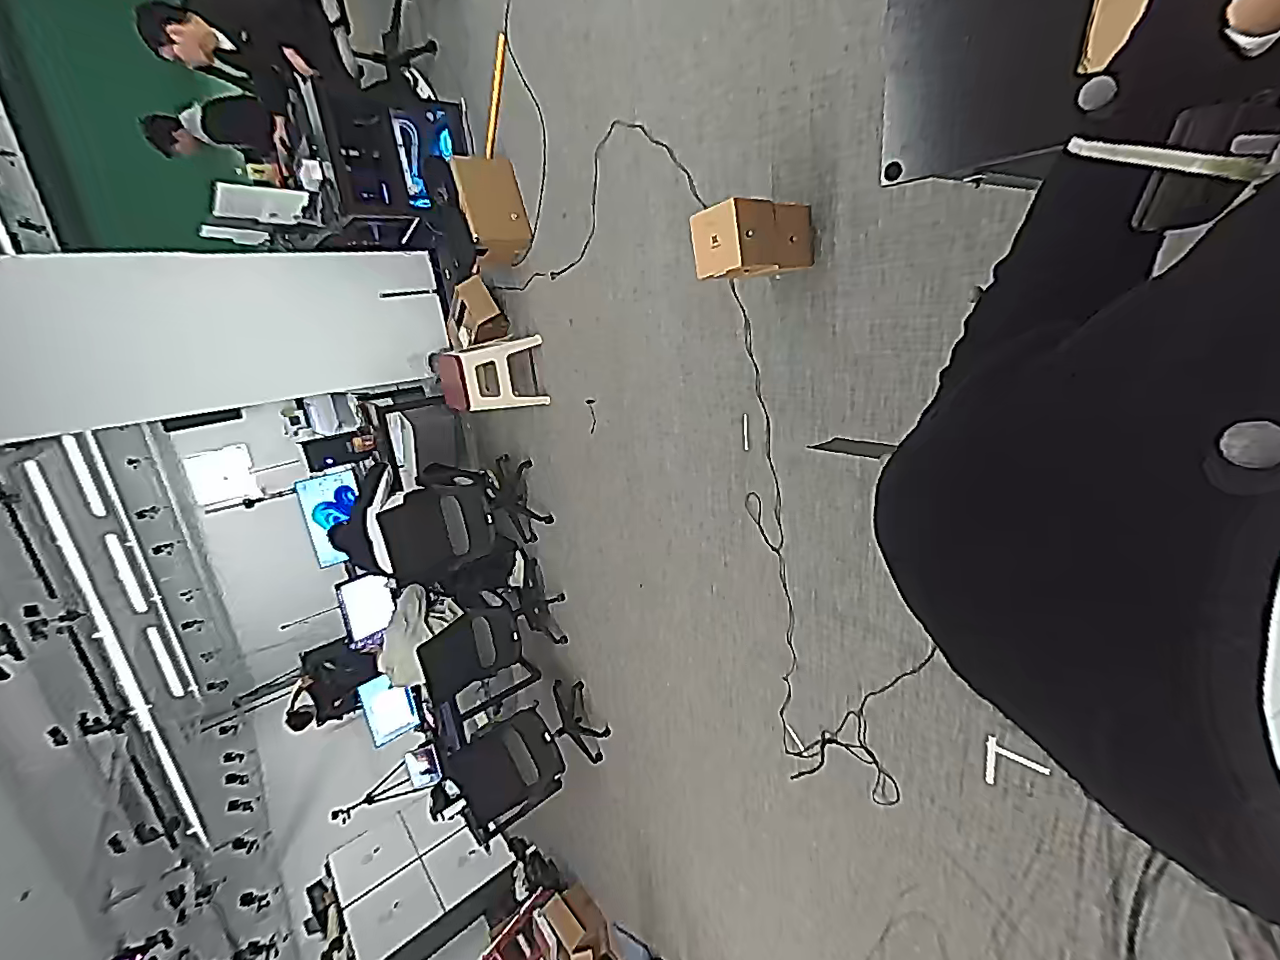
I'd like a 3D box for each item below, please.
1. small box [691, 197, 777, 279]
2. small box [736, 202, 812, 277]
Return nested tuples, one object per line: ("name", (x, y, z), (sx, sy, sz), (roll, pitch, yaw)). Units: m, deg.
("small box", (0.269, -0.676, 1.520), (0.168, 0.176, 0.179), (5, 109, 51))
("small box", (0.395, -0.714, 1.615), (0.168, 0.176, 0.179), (10, 114, 50))
